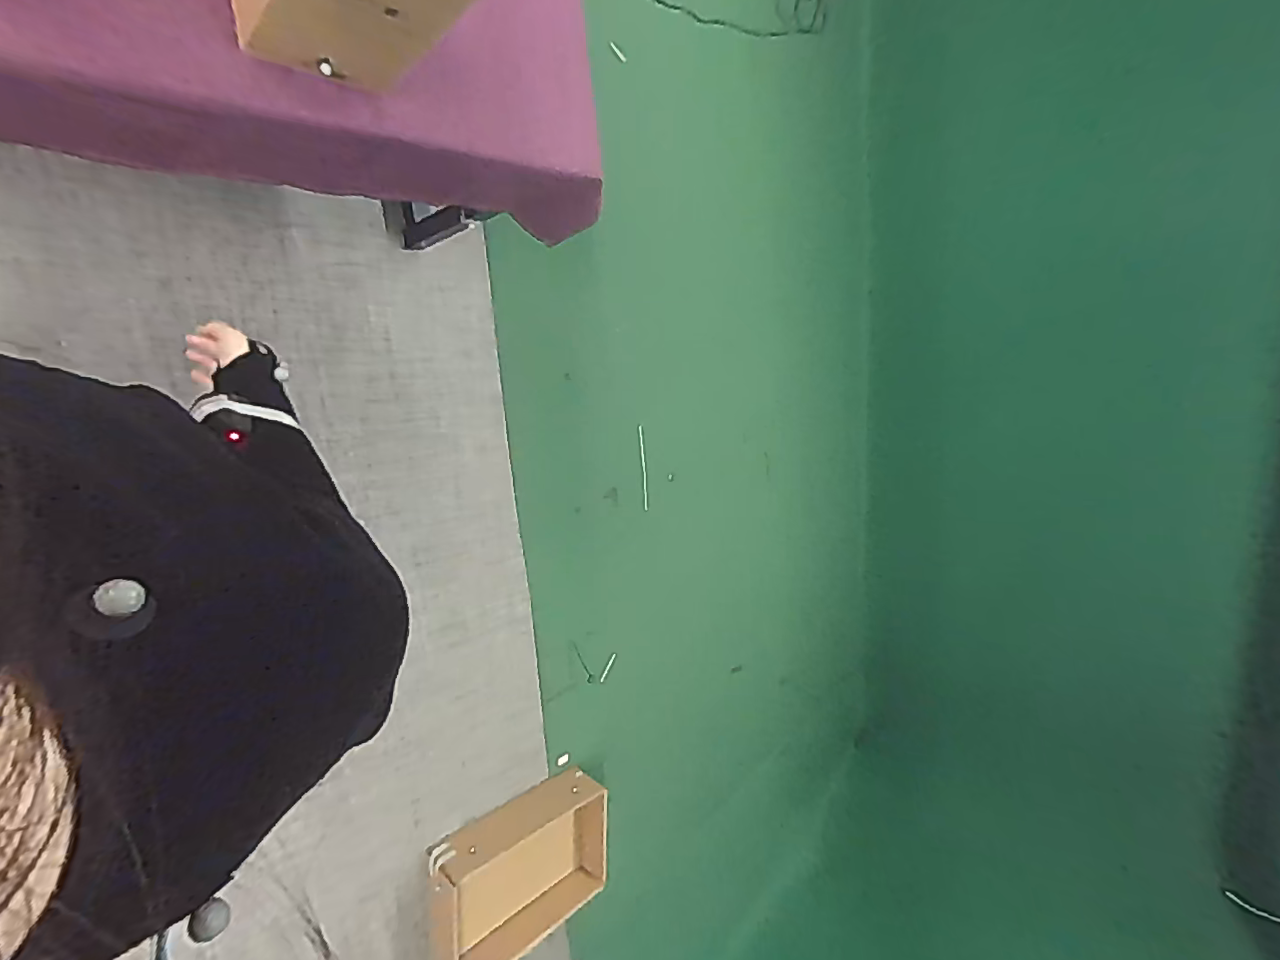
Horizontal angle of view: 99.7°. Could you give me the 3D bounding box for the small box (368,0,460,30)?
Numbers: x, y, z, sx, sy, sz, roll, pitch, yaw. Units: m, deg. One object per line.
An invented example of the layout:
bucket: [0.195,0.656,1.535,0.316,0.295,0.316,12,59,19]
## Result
small box: [-0.242,-0.586,0.511,0.168,0.176,0.179,-13,103,-46]
